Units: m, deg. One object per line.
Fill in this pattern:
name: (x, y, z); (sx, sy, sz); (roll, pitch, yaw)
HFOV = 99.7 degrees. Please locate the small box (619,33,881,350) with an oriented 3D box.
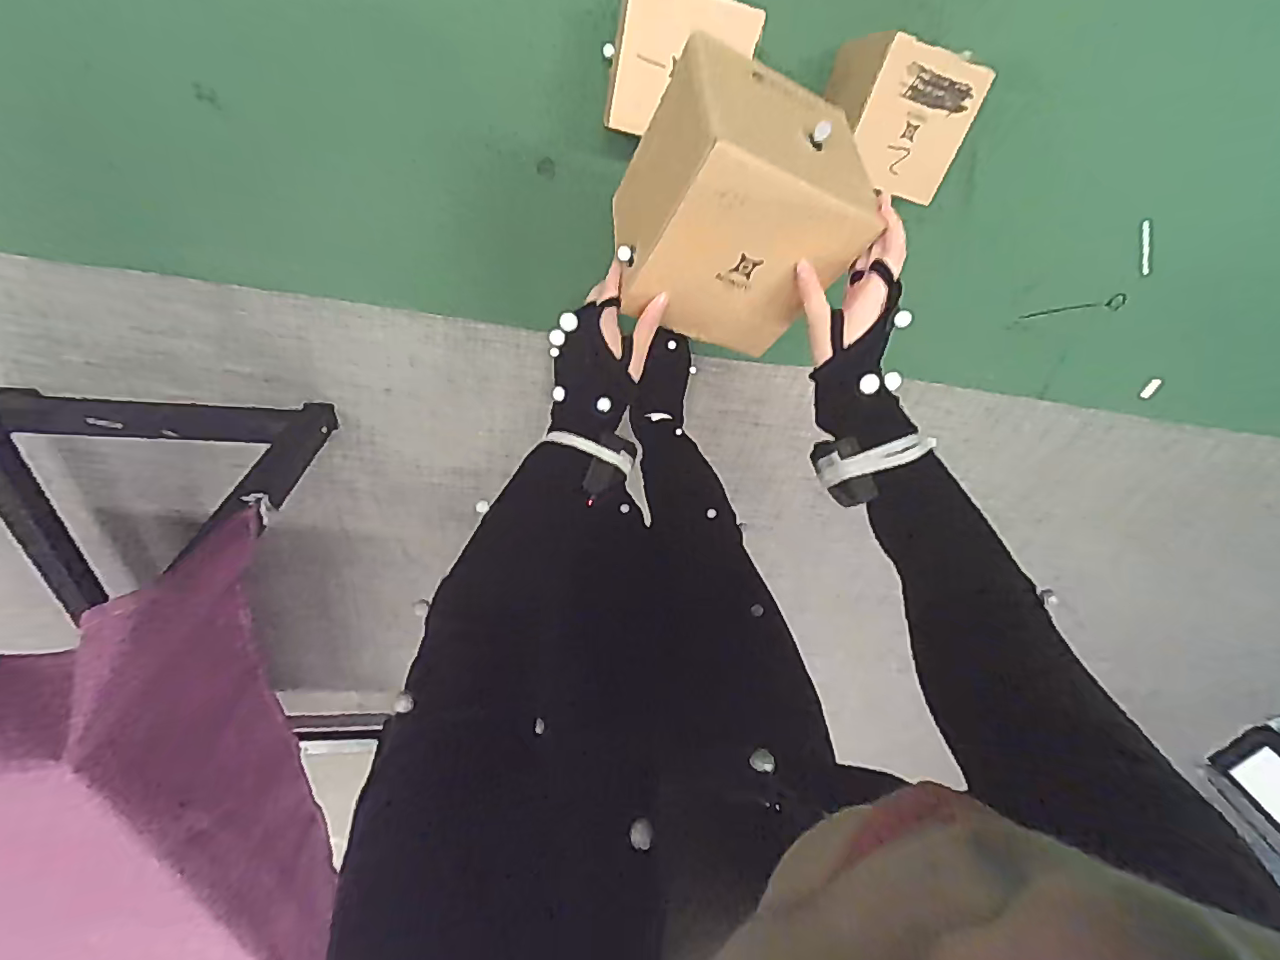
small box: (0.084, -0.259, 0.509); (0.168, 0.176, 0.179); (11, 150, -24)

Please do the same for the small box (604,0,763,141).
small box: (0.049, -0.576, 0.776); (0.179, 0.176, 0.168); (8, 123, -11)
